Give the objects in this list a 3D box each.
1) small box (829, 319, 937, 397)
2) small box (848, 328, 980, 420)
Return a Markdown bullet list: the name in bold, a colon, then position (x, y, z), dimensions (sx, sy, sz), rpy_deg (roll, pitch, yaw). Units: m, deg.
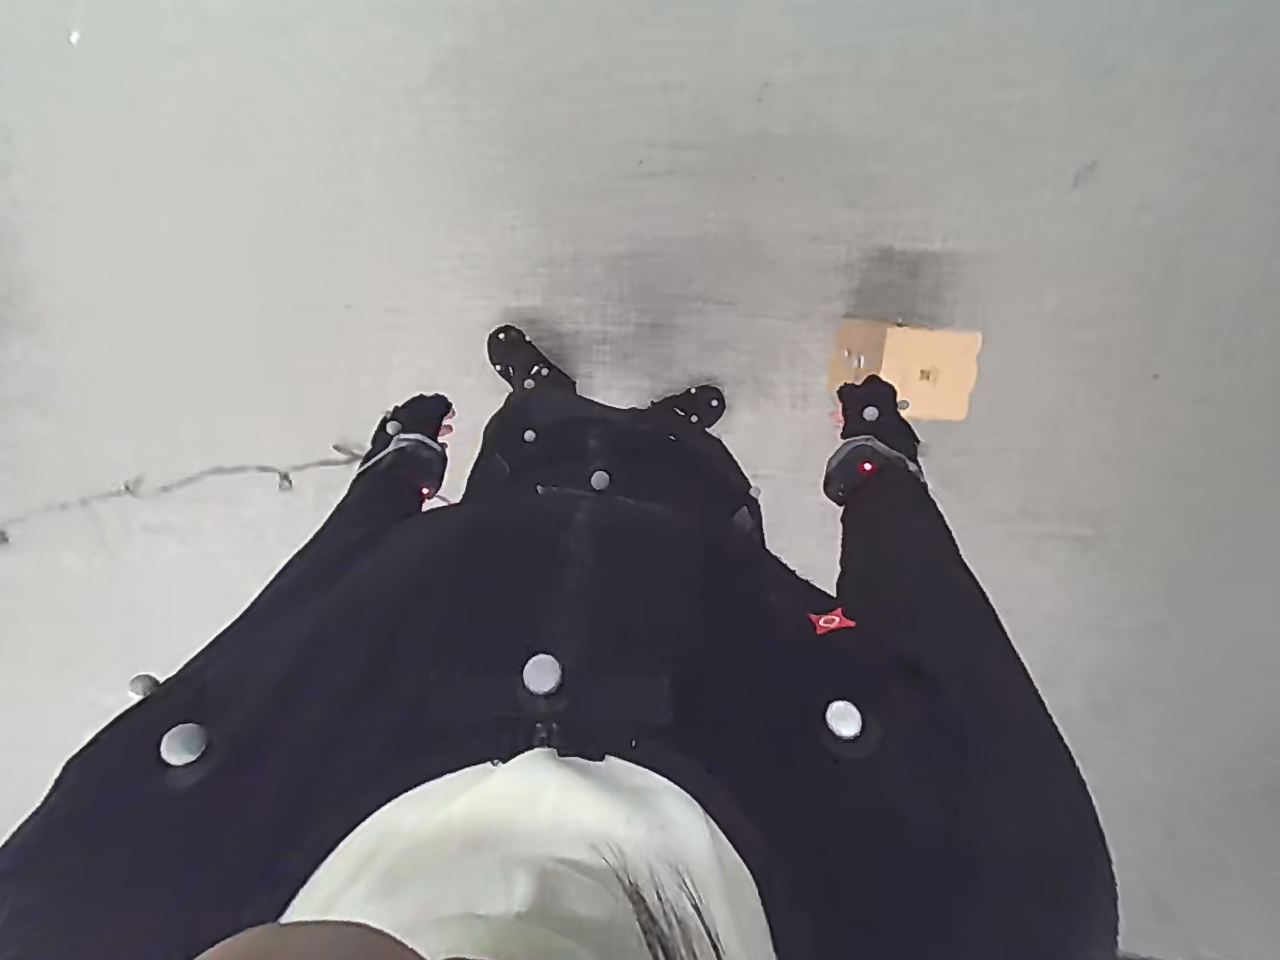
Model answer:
- **small box**: position (0.553, -0.276, 1.256), dimensions (0.168, 0.176, 0.179), rpy_deg (6, 106, 2)
- **small box**: position (0.547, -0.220, 1.104), dimensions (0.179, 0.176, 0.168), rpy_deg (4, 104, 4)
